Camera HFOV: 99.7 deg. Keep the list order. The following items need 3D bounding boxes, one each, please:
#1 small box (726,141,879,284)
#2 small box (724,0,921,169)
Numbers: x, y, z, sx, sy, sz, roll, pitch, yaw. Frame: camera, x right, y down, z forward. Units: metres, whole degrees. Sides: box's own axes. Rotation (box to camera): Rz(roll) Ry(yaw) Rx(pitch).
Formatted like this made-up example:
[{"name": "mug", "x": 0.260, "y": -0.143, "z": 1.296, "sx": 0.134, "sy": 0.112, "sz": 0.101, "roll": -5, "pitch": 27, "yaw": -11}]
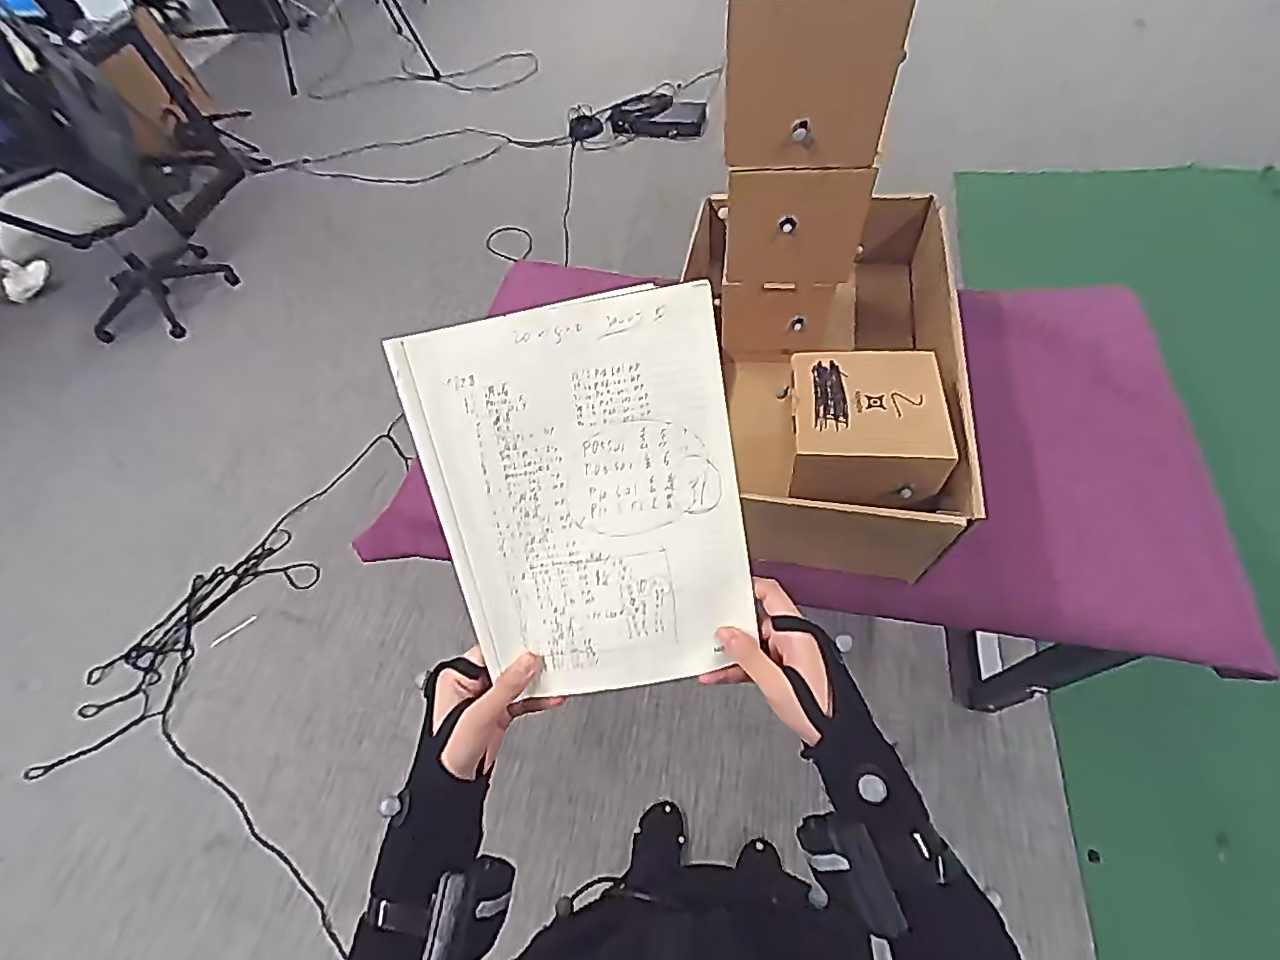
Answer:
[{"name": "small box", "x": 0.215, "y": -0.391, "z": 0.750, "sx": 0.179, "sy": 0.176, "sz": 0.168, "roll": 4, "pitch": 60, "yaw": 11}, {"name": "small box", "x": 0.195, "y": -0.479, "z": 0.613, "sx": 0.179, "sy": 0.176, "sz": 0.168, "roll": 7, "pitch": 60, "yaw": 10}]
